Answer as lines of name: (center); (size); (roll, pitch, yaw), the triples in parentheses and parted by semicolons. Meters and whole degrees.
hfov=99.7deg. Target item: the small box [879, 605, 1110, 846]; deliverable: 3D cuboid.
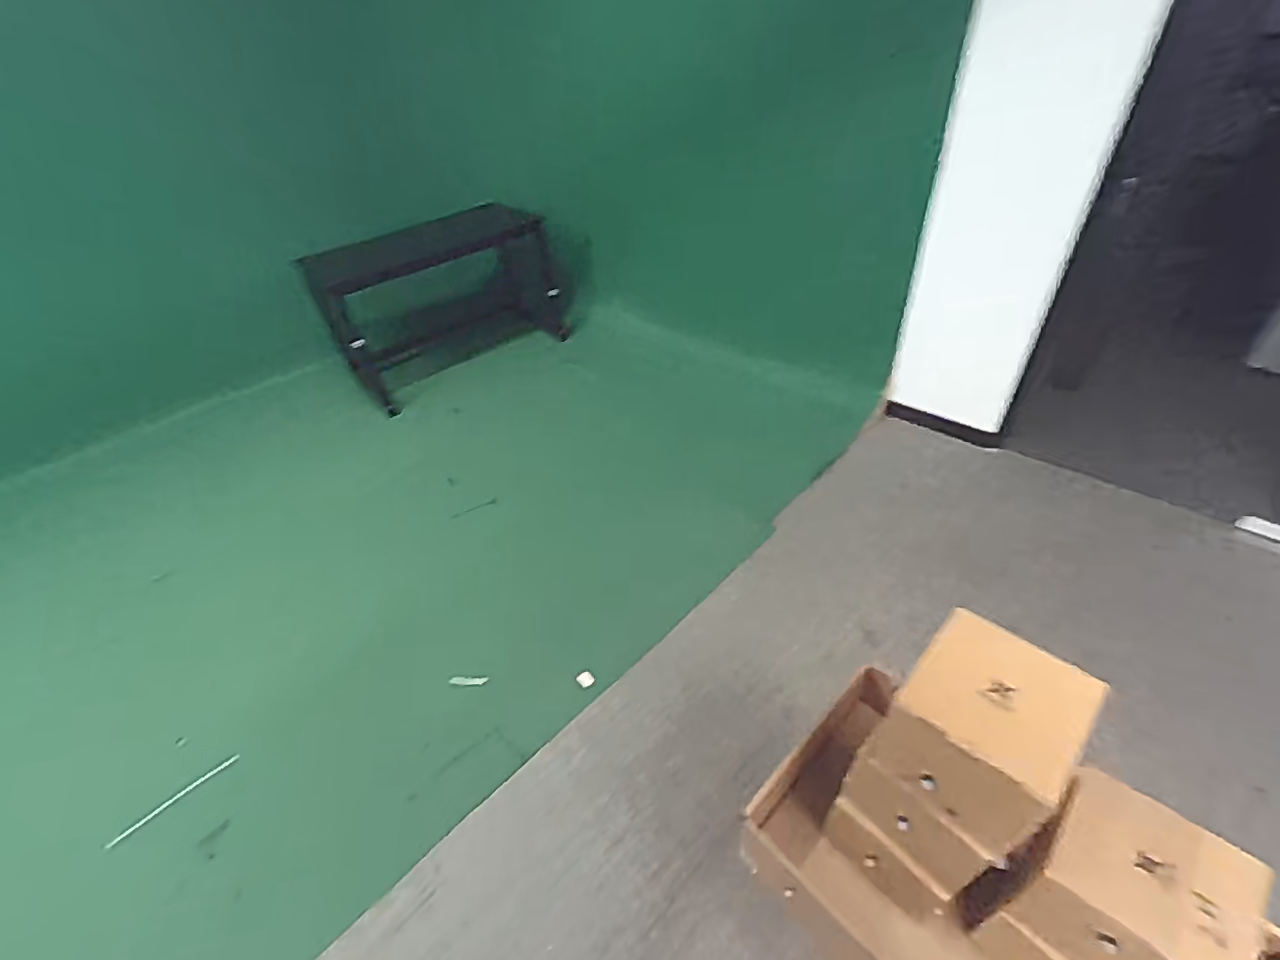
small box: (0.419, 0.297, 0.664); (0.179, 0.176, 0.168); (-36, 48, -28)
